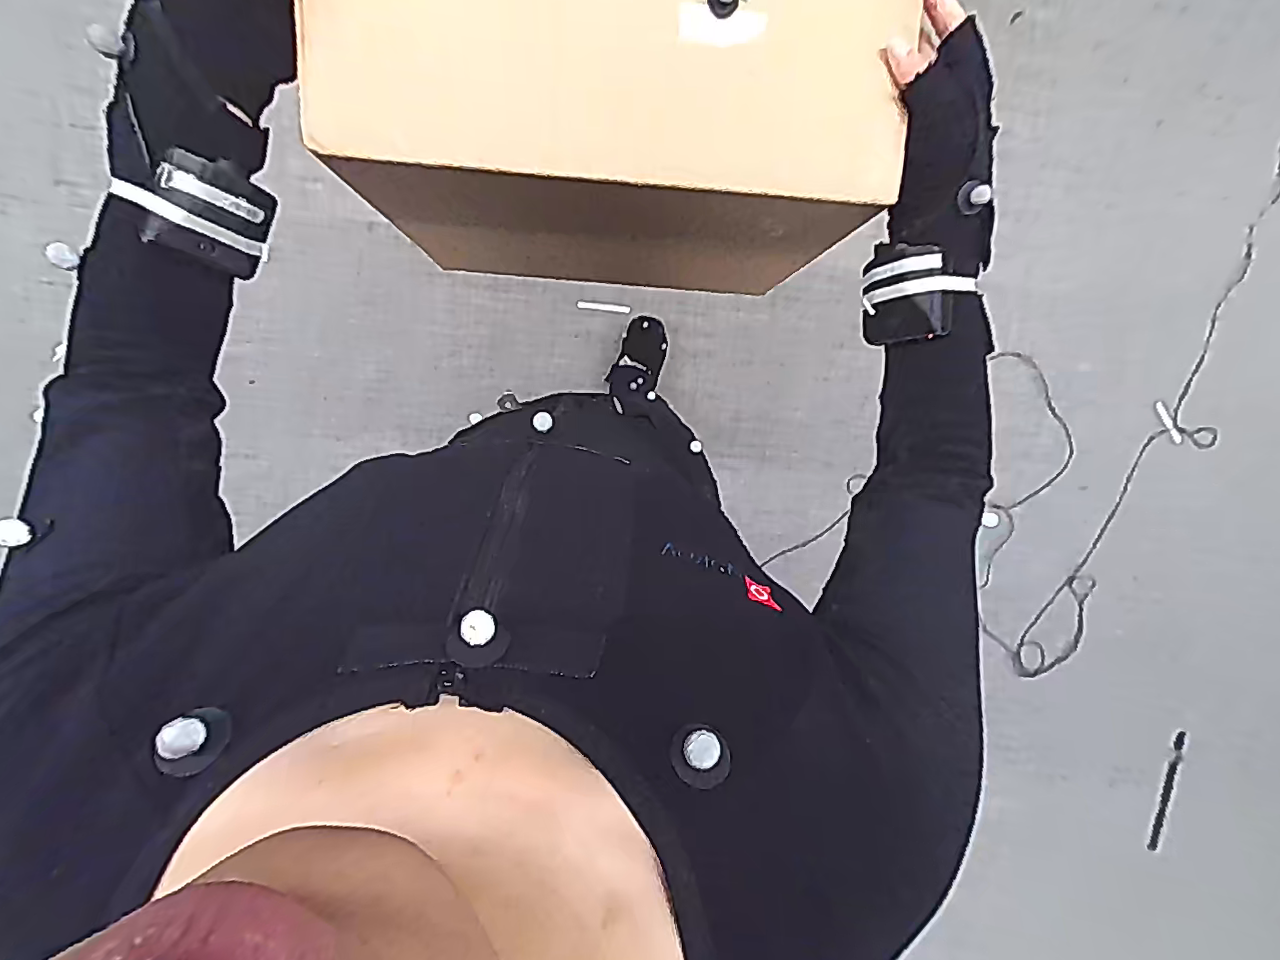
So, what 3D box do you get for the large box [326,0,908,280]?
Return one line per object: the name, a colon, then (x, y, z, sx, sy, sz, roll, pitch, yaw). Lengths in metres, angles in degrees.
large box: (-0.020, -0.391, 0.510, 0.408, 0.320, 0.320, 2, 98, -5)
